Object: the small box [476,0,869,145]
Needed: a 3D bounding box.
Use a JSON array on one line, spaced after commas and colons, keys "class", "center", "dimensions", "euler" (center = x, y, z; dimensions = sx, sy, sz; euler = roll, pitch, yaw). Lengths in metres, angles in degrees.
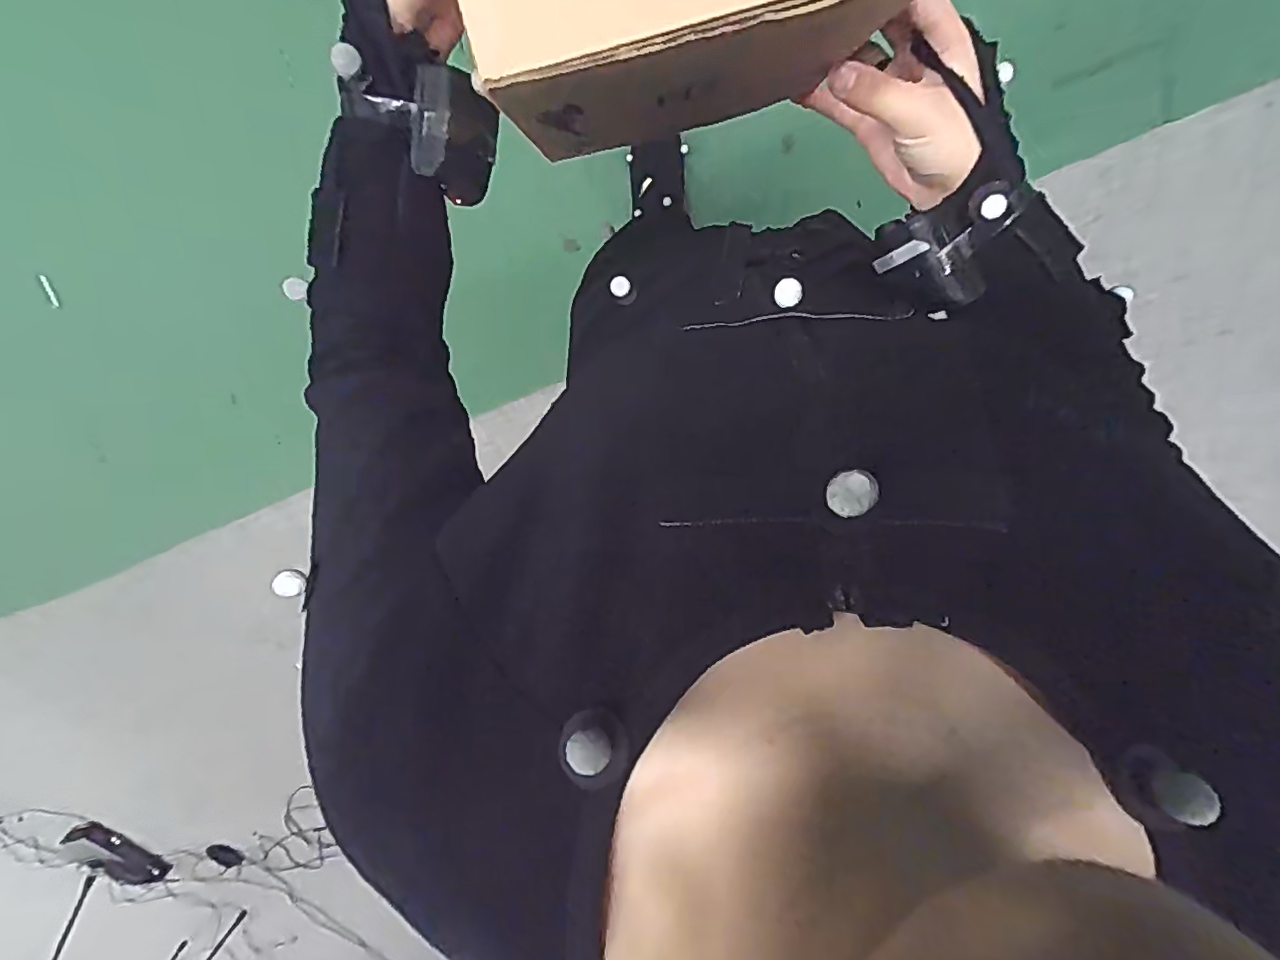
[{"class": "small box", "center": [0.003, -0.282, 0.244], "dimensions": [0.179, 0.168, 0.176], "euler": [-13, 111, 5]}]
